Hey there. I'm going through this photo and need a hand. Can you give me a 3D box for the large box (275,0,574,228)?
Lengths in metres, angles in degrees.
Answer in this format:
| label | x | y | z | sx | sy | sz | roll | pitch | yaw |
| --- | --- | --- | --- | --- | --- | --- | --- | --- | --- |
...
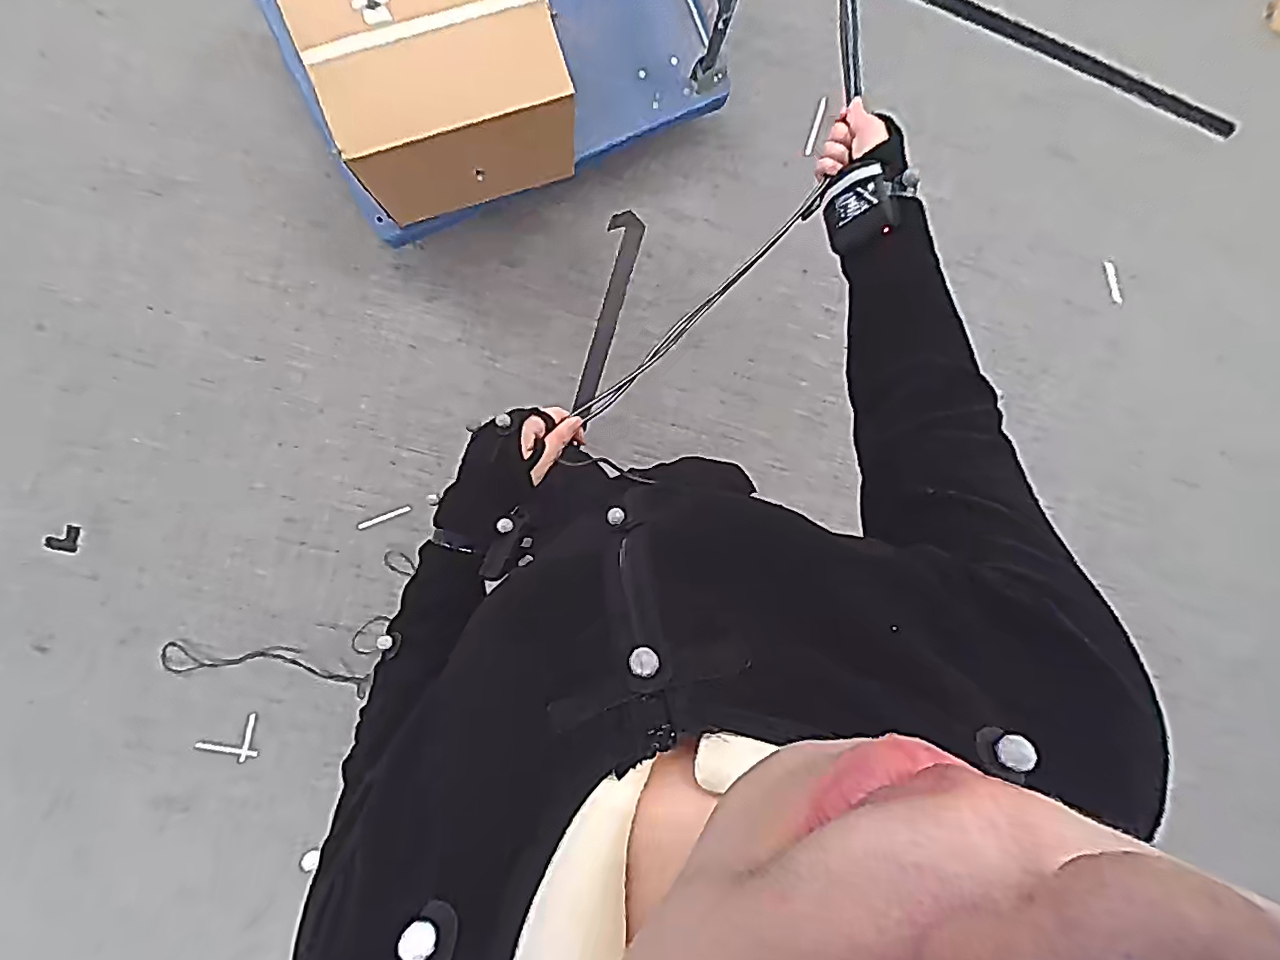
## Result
| label | x | y | z | sx | sy | sz | roll | pitch | yaw |
| --- | --- | --- | --- | --- | --- | --- | --- | --- | --- |
| large box | -0.365 | -0.734 | 1.022 | 0.408 | 0.320 | 0.320 | -20 | 97 | -4 |
